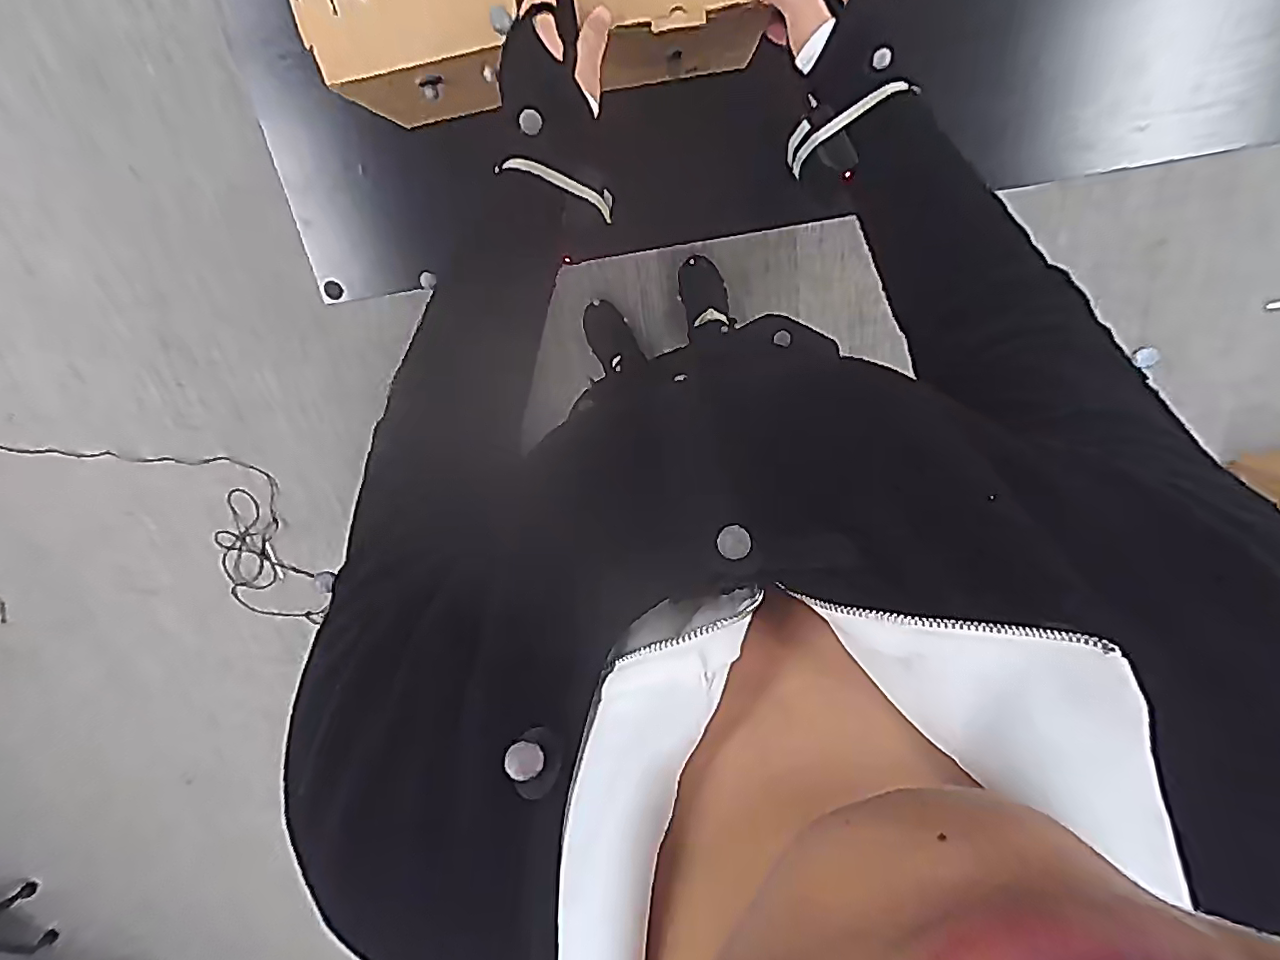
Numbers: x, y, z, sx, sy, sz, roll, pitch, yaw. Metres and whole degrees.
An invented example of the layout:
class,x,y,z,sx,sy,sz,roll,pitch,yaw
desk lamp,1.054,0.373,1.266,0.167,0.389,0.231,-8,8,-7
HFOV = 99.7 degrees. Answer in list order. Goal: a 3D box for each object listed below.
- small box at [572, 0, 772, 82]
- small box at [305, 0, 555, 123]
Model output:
class,x,y,z,sx,sy,sz,roll,pitch,yaw
small box,0.019,-0.485,0.485,0.168,0.176,0.179,-7,113,3
small box,-0.192,-0.457,0.503,0.179,0.176,0.168,-10,112,5
